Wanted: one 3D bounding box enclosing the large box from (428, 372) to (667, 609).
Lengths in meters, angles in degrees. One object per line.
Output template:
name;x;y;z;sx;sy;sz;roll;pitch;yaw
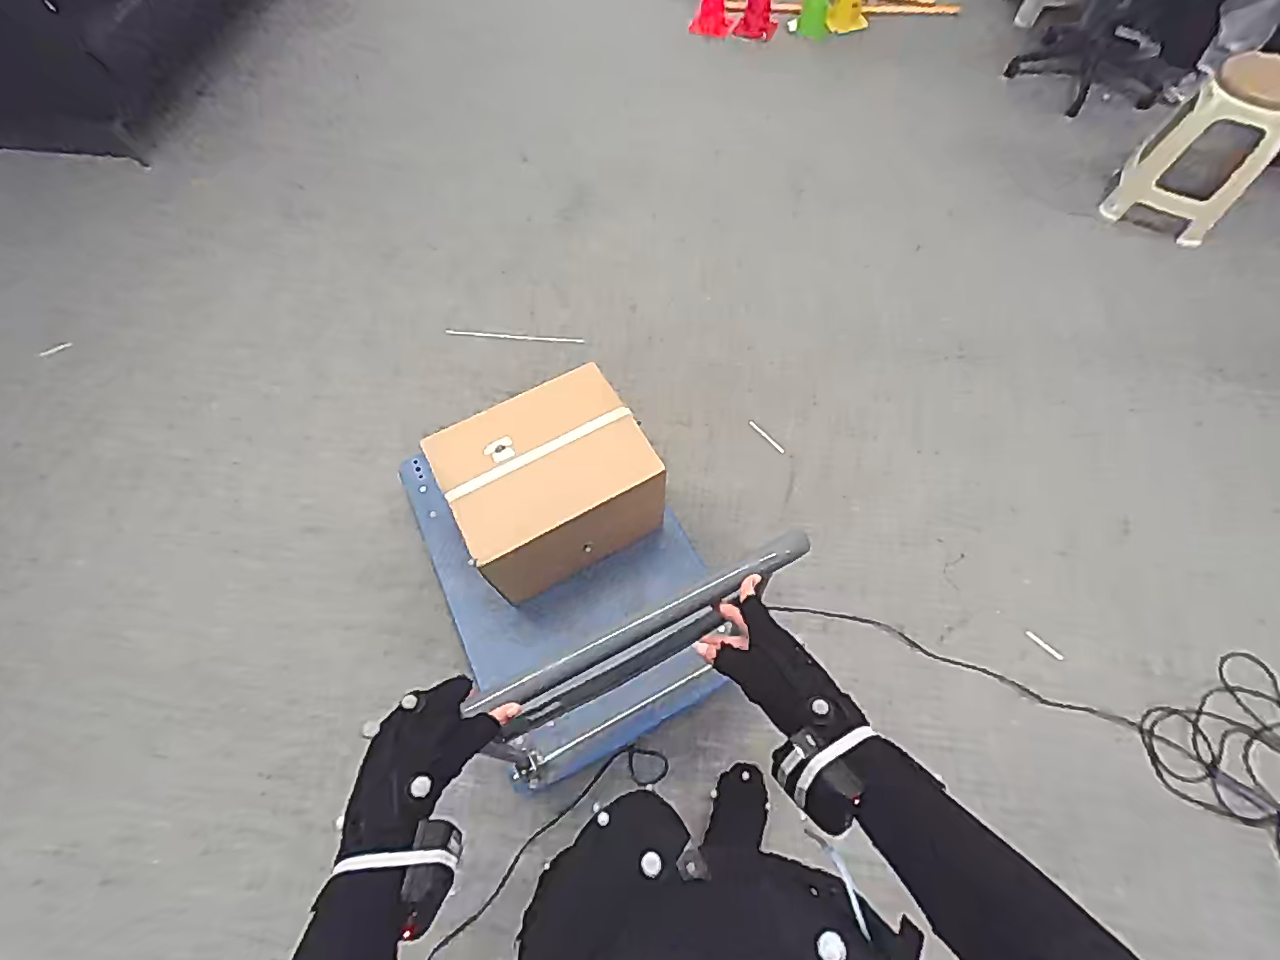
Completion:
large box;-0.186;0.033;1.223;0.408;0.320;0.320;-28;65;-11
